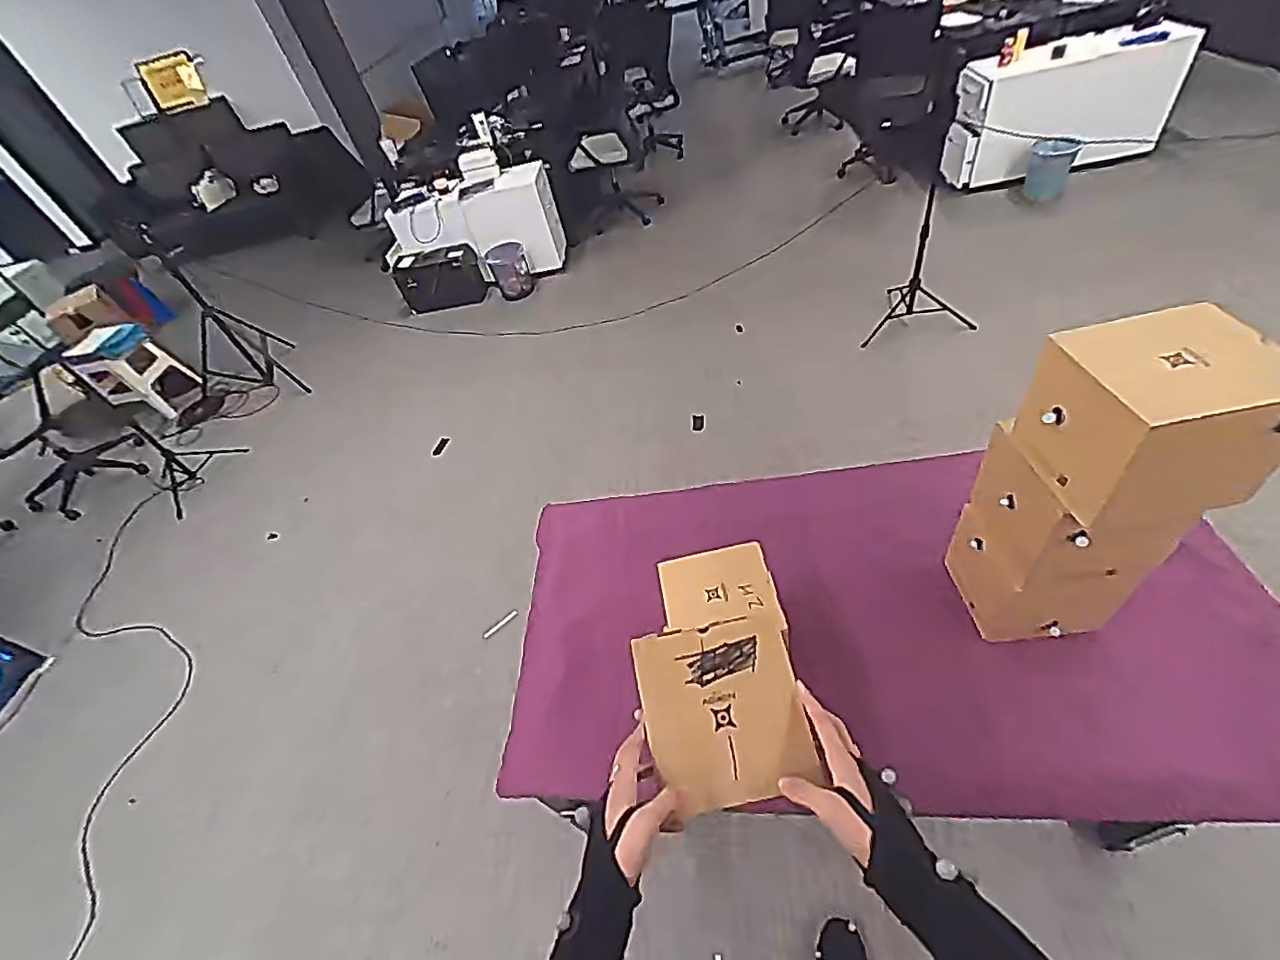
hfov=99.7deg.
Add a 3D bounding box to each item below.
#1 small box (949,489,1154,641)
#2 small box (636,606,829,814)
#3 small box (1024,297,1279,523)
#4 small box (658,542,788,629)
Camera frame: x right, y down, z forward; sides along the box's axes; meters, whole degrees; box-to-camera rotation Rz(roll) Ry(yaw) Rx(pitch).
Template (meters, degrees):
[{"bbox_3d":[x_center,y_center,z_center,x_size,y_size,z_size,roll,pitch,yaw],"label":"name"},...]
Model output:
[{"bbox_3d":[0.624,0.135,0.850,0.179,0.176,0.168,-9,46,7],"label":"small box"},{"bbox_3d":[0.093,0.263,0.625,0.168,0.176,0.179,-12,65,0],"label":"small box"},{"bbox_3d":[0.568,-0.072,0.601,0.179,0.176,0.168,-12,46,5],"label":"small box"},{"bbox_3d":[0.139,0.232,0.893,0.179,0.176,0.168,-12,45,3],"label":"small box"}]
